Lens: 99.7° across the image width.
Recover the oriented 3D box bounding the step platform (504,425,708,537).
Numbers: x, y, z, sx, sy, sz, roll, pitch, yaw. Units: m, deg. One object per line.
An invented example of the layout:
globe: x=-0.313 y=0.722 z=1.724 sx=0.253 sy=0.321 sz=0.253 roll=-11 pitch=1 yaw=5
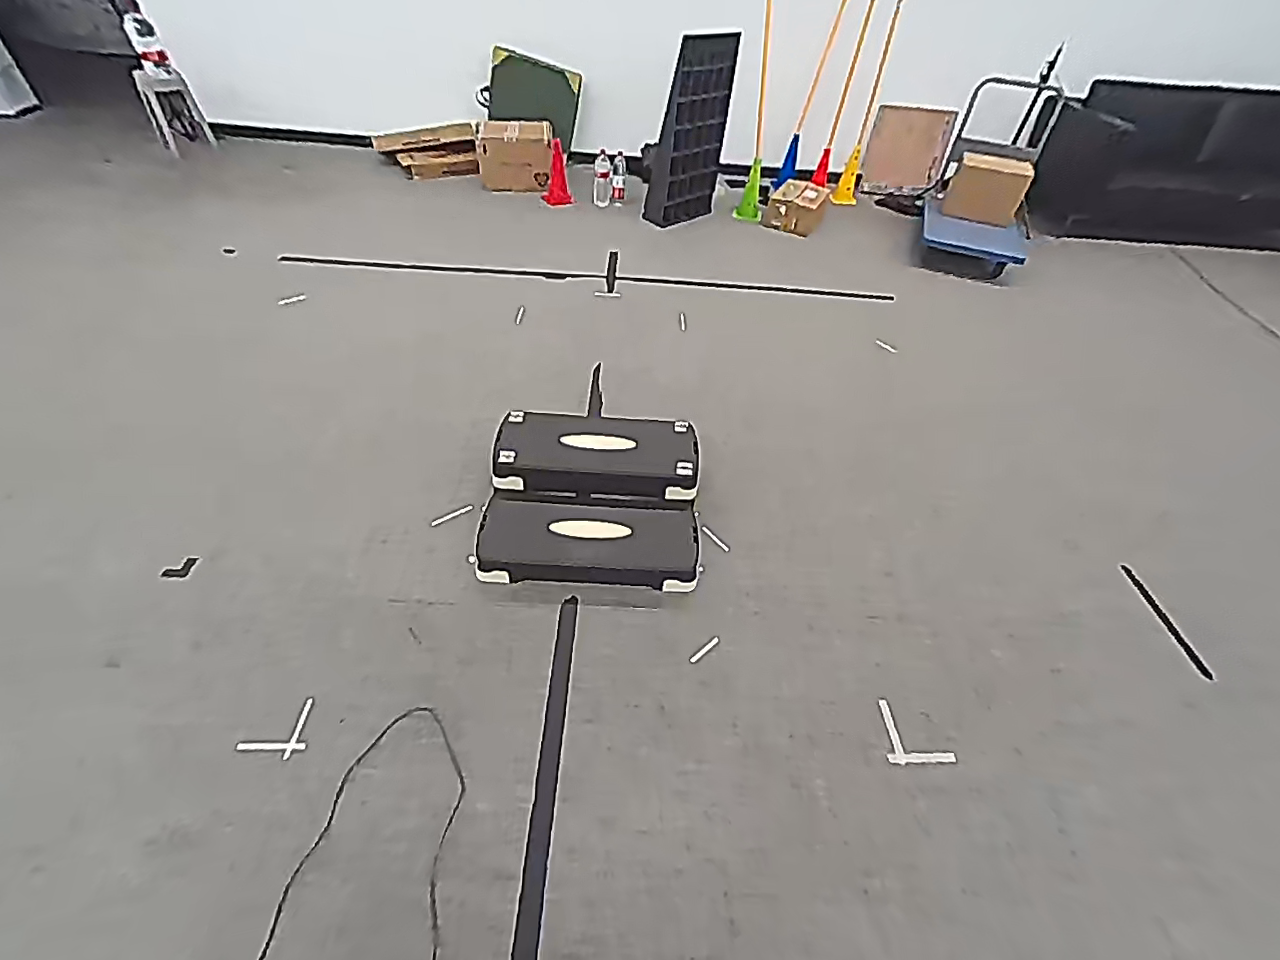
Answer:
step platform: x=-0.110 y=-0.002 z=1.846 sx=0.684 sy=0.204 sz=0.286 roll=7 pitch=45 yaw=1
